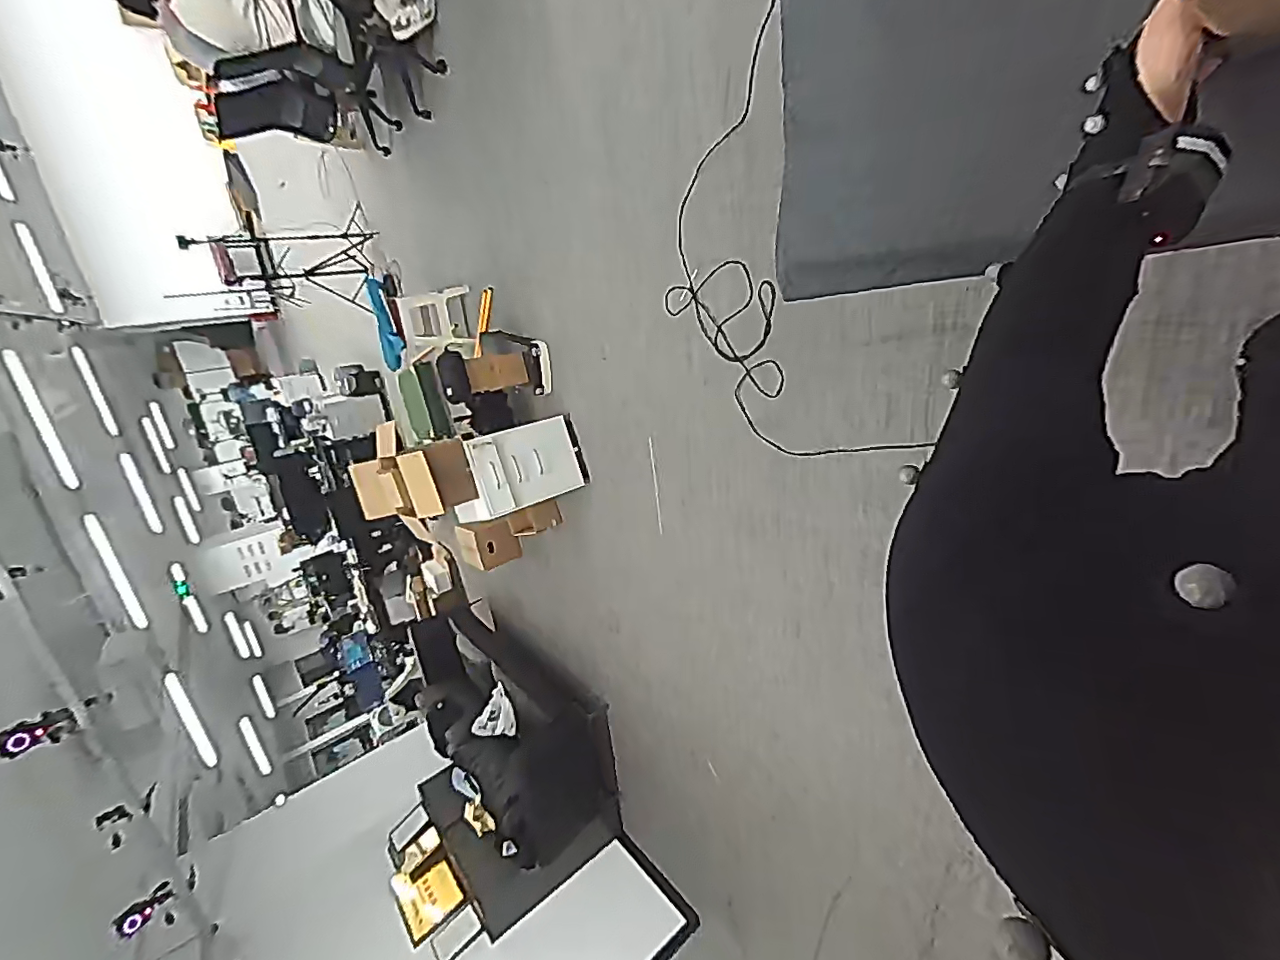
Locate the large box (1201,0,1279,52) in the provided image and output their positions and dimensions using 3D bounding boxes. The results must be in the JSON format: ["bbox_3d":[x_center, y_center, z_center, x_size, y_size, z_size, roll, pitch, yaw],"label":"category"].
[{"bbox_3d":[0.490,-0.425,0.173,0.408,0.320,0.320,15,119,49],"label":"large box"}]
